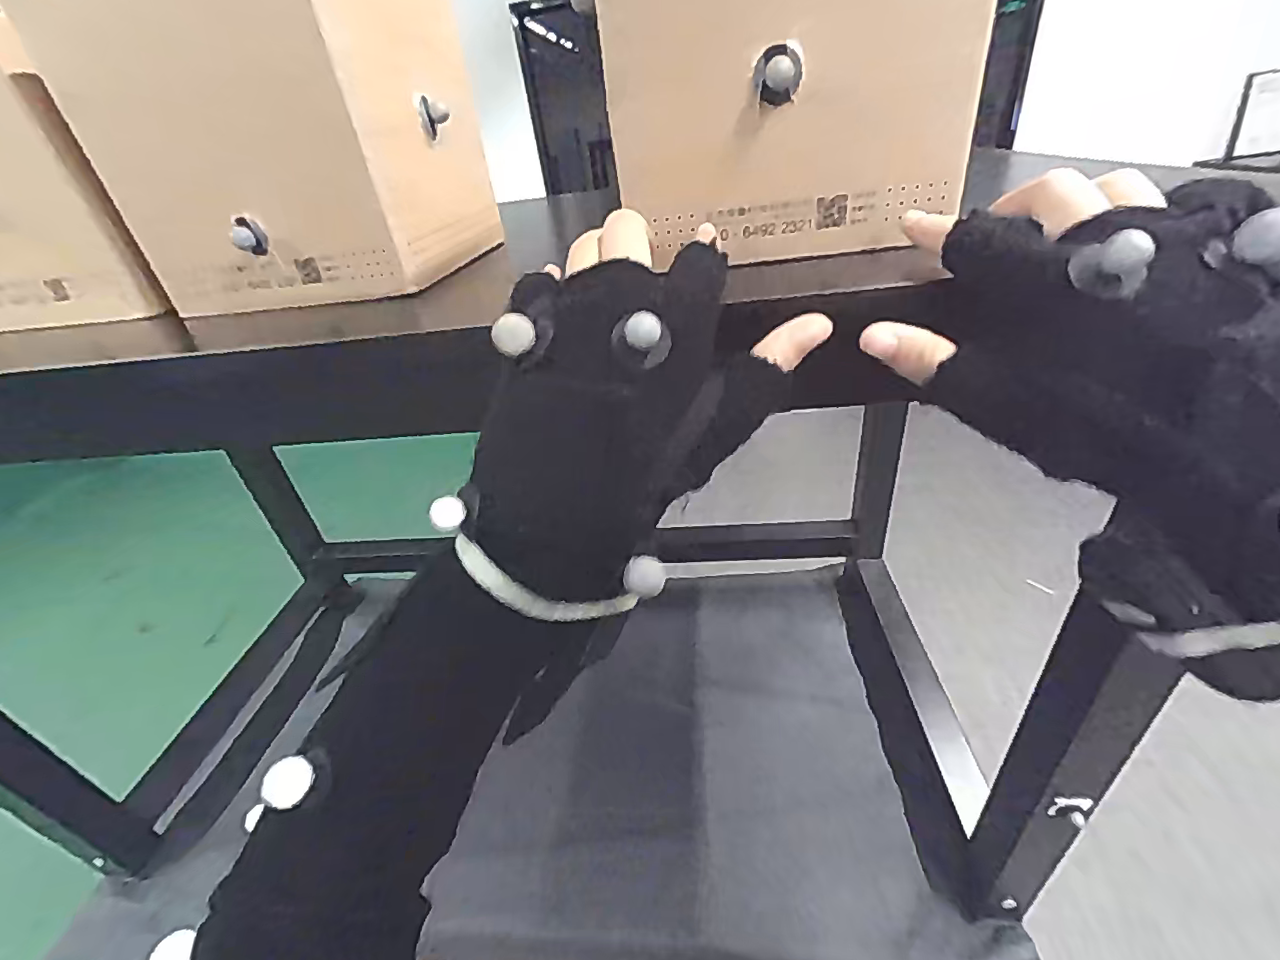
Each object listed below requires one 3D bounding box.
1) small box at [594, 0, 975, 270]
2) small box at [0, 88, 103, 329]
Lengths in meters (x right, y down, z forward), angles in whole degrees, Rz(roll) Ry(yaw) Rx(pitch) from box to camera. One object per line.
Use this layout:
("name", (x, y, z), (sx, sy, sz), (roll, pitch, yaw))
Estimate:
("small box", (0.073, -0.225, 0.311), (0.168, 0.176, 0.179), (-3, 33, 8))
("small box", (-0.599, -0.203, 0.429), (0.168, 0.176, 0.179), (-2, 34, 9))
